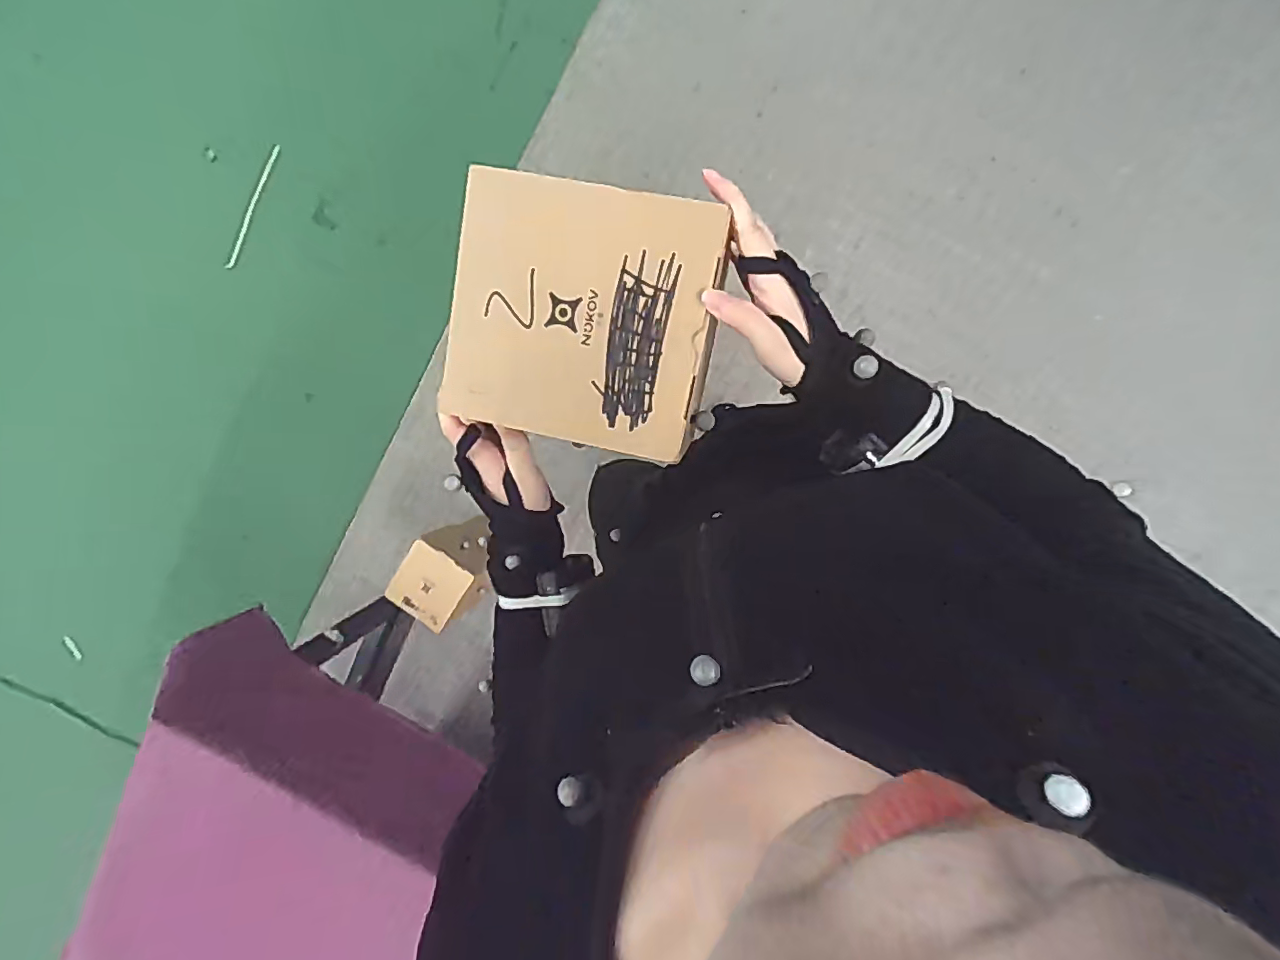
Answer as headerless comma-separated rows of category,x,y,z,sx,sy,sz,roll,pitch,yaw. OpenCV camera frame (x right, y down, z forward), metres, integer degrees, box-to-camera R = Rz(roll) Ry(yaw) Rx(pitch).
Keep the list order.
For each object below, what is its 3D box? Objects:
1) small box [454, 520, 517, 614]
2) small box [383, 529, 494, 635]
small box,-0.467,0.233,1.507,0.168,0.176,0.179,39,100,2
small box,-0.487,0.244,1.344,0.168,0.176,0.179,35,99,2
